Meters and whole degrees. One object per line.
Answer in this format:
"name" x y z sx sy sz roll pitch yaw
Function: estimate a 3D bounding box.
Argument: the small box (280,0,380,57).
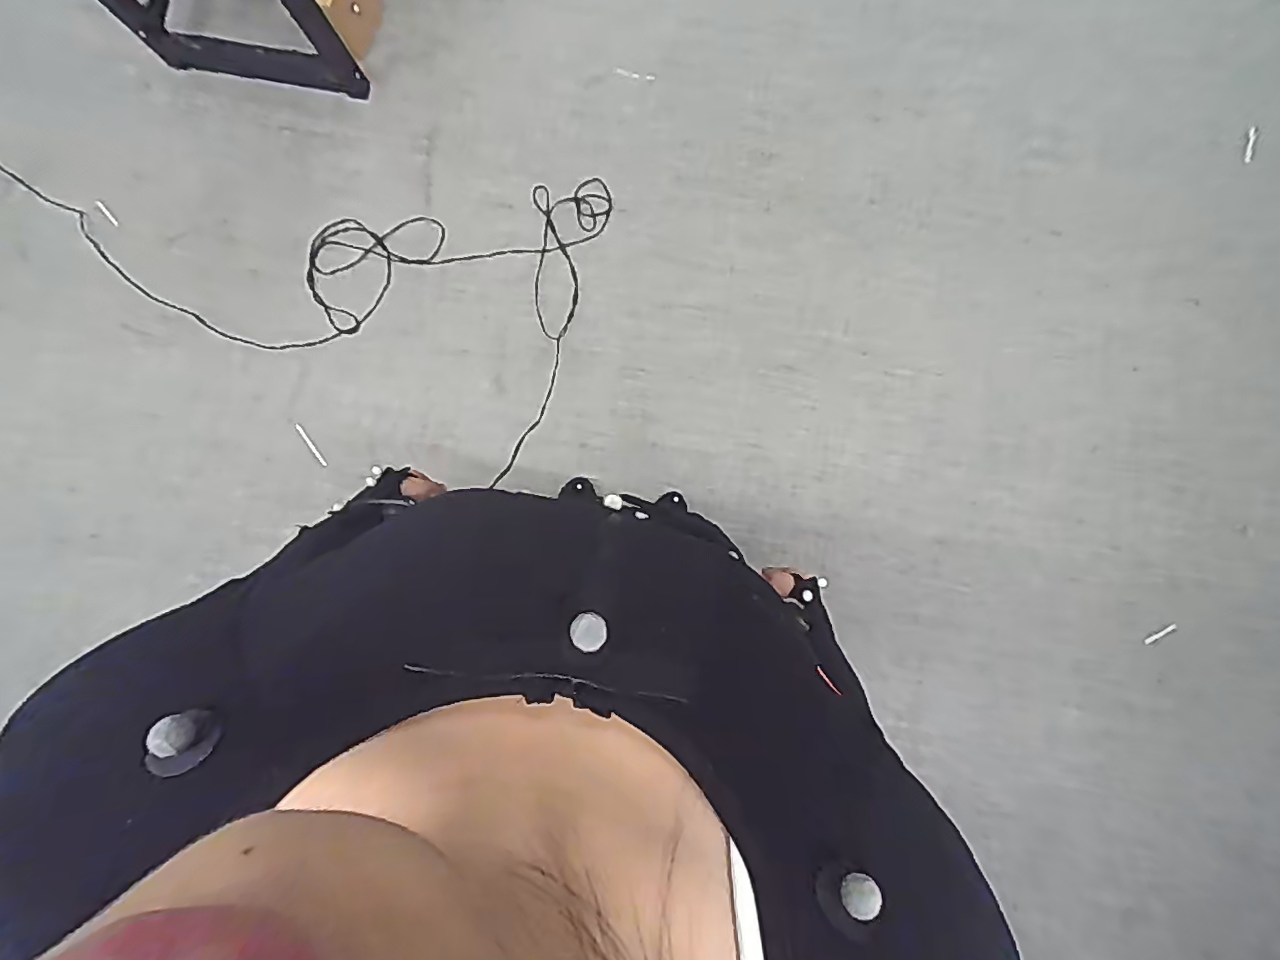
"small box" -0.840 -1.306 1.462 0.168 0.176 0.179 22 89 0
